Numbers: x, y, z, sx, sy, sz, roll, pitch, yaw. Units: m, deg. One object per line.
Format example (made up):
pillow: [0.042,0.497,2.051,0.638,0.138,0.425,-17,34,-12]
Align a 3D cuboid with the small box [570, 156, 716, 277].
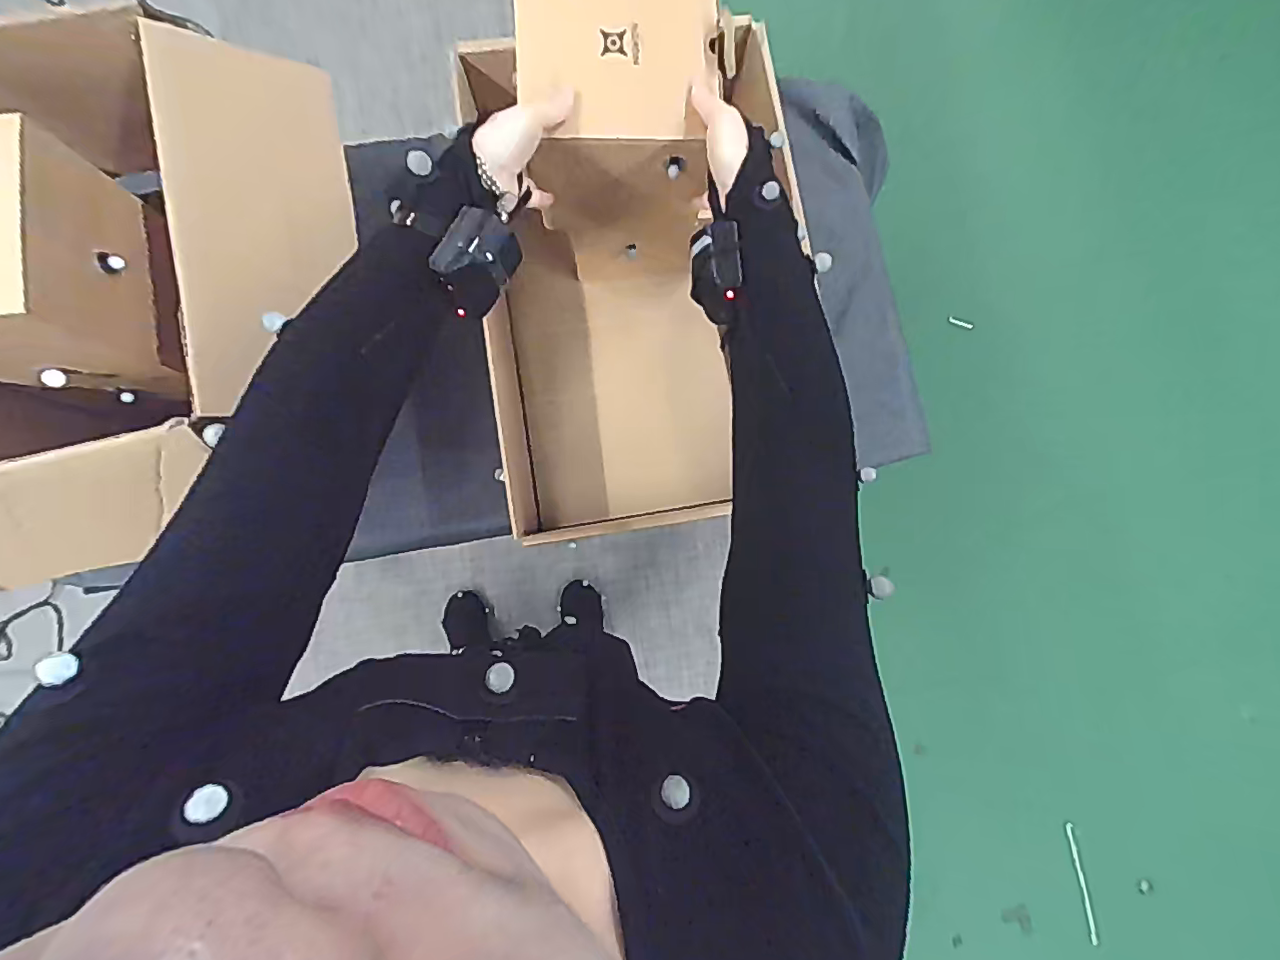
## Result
small box: [-0.007,-0.378,0.707,0.179,0.176,0.168,-6,91,-4]

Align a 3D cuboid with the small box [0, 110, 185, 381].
small box: [-0.581,-0.206,0.513,0.168,0.176,0.179,-7,87,-5]

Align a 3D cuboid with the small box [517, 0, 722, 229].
small box: [-0.021,-0.369,0.543,0.179,0.176,0.168,-2,91,-5]
